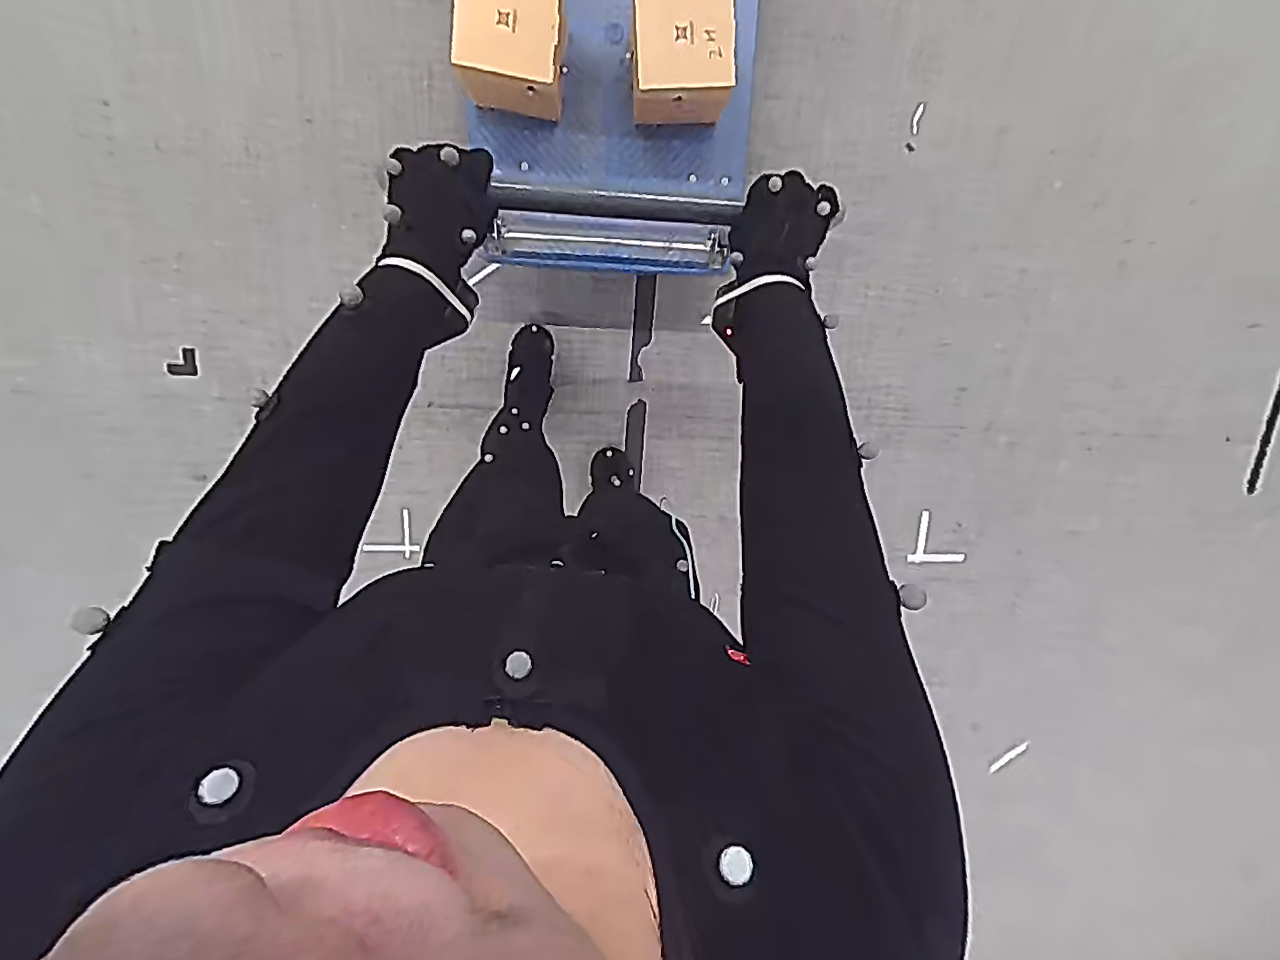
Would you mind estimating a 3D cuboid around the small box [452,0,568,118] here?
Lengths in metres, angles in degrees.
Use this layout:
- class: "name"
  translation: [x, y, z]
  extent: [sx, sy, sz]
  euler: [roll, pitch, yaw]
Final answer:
- class: "small box"
  translation: [-0.232, -0.800, 0.994]
  extent: [0.179, 0.176, 0.168]
  euler: [7, 104, -7]

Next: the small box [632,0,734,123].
- class: "small box"
  translation: [0.074, -0.794, 1.016]
  extent: [0.179, 0.176, 0.168]
  euler: [-3, 105, -3]
